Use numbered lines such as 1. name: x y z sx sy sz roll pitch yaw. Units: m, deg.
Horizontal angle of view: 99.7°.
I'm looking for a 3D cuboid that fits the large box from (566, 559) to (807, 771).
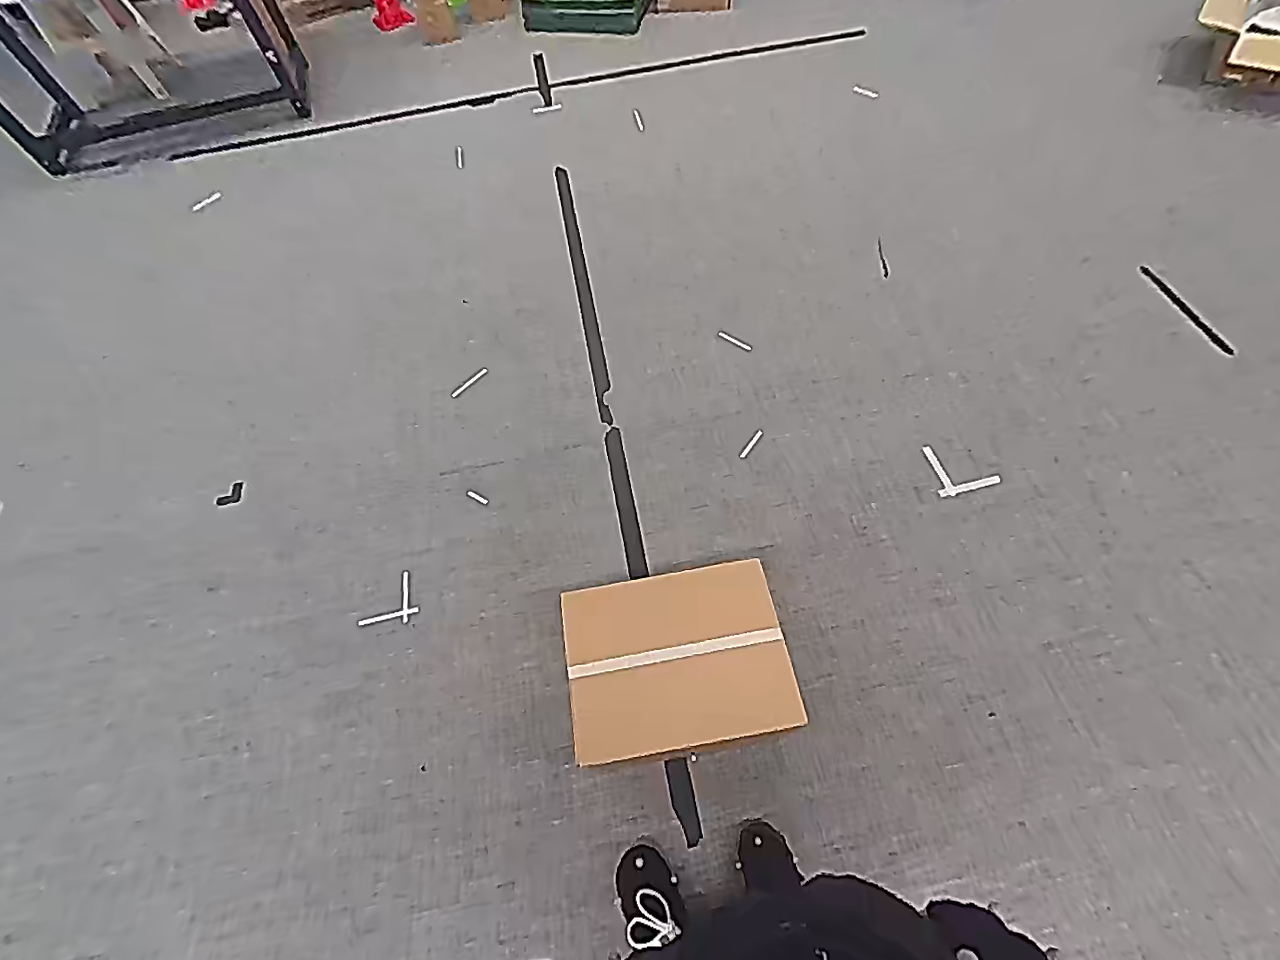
1. large box: 0.081 0.399 1.136 0.408 0.320 0.320 -10 61 -1
